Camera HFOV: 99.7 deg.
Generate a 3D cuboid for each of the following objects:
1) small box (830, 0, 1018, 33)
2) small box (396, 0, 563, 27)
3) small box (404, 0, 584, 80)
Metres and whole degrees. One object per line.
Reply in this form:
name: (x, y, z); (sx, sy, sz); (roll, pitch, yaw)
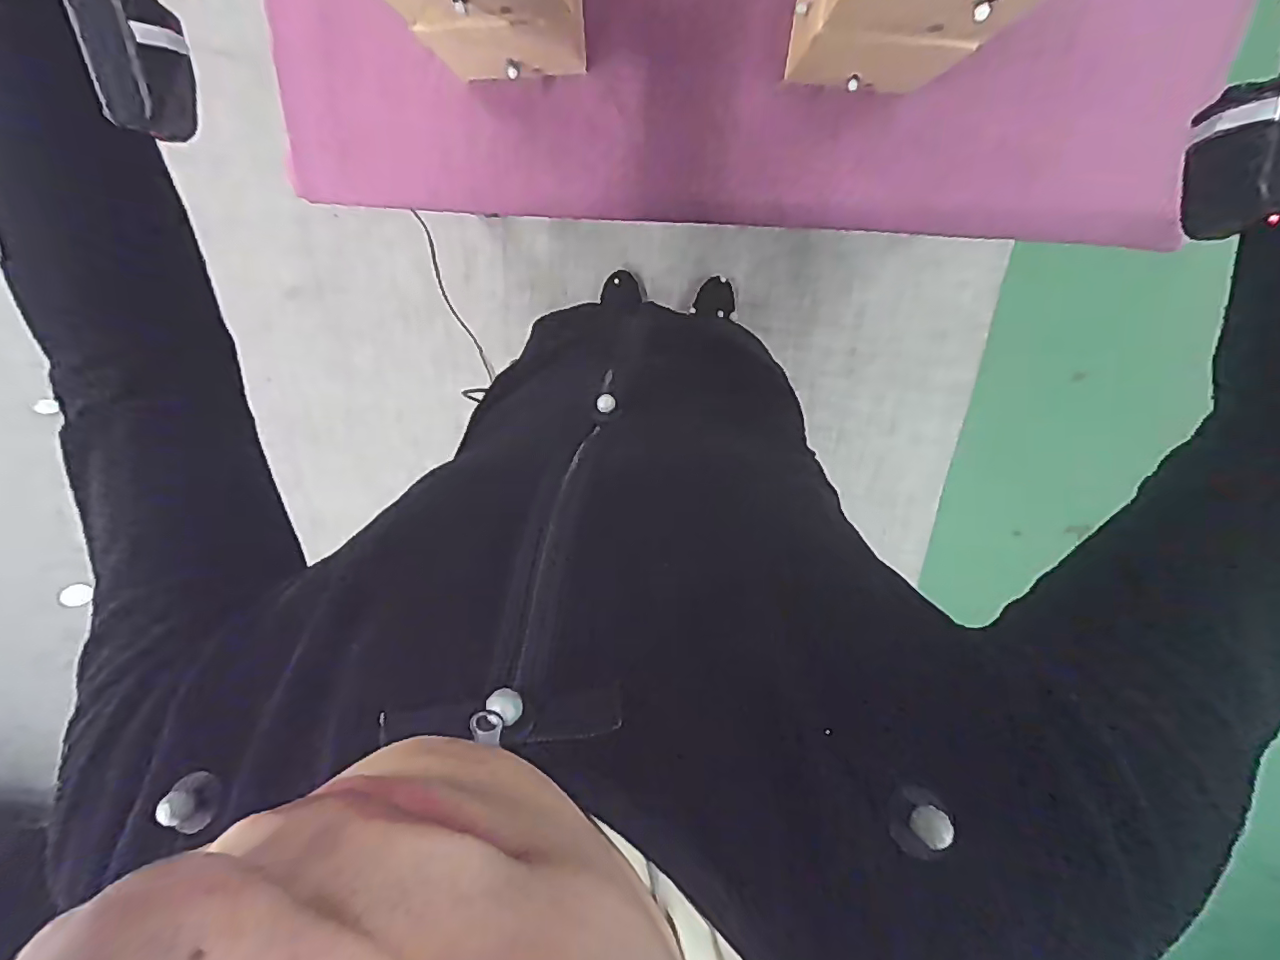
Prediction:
small box: (0.261, -0.496, 0.432); (0.168, 0.176, 0.179); (5, 111, 1)
small box: (-0.165, -0.523, 0.449); (0.168, 0.176, 0.179); (-3, 112, 4)
small box: (-0.159, -0.580, 0.601); (0.168, 0.176, 0.179); (-1, 112, 4)
